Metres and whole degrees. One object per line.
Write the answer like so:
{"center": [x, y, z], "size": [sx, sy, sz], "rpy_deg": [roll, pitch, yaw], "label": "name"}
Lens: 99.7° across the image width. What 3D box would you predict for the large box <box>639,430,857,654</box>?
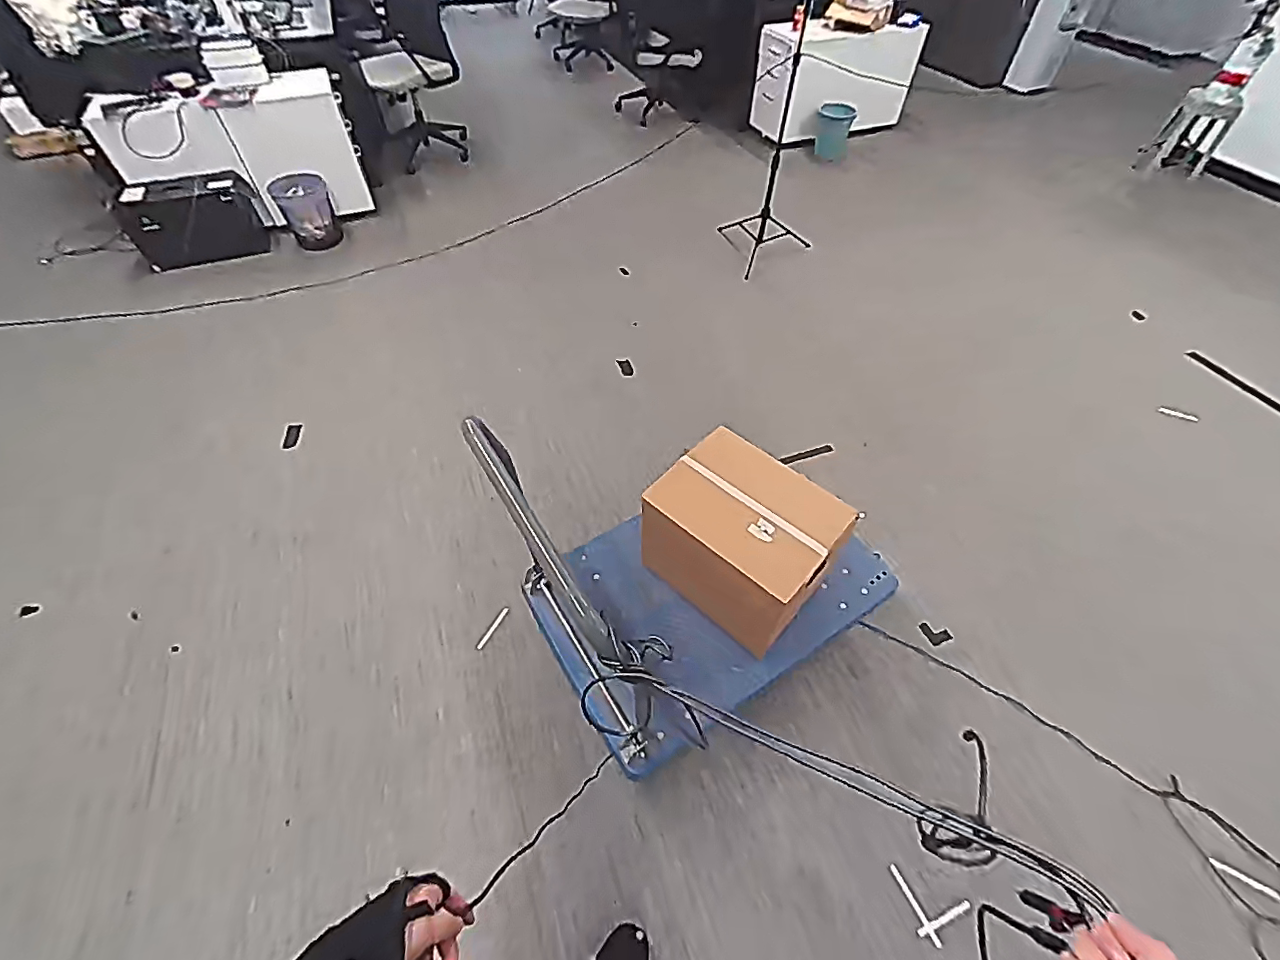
{"center": [0.246, 0.150, 1.357], "size": [0.408, 0.320, 0.320], "rpy_deg": [37, 60, 24], "label": "large box"}
